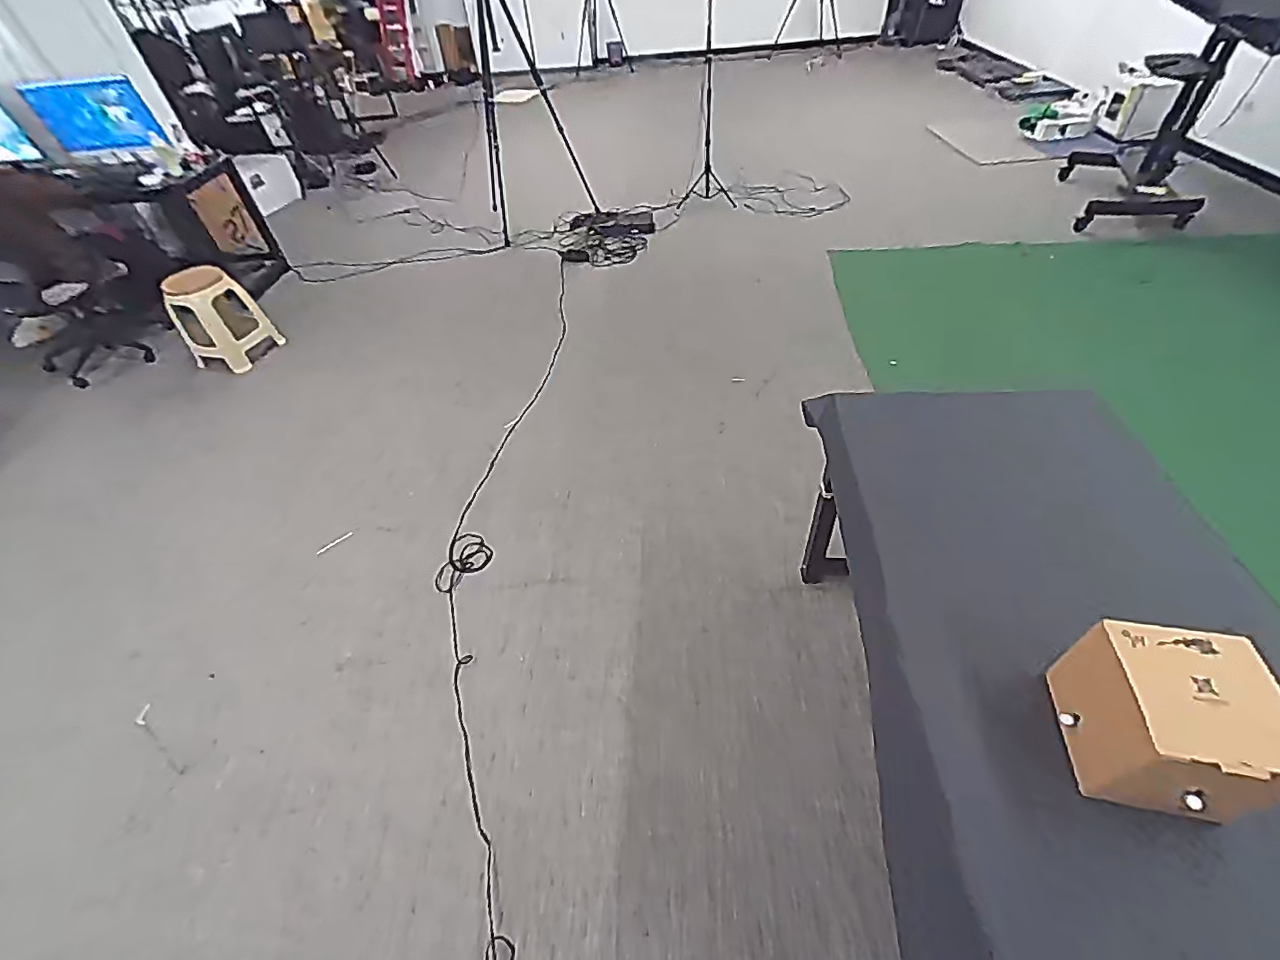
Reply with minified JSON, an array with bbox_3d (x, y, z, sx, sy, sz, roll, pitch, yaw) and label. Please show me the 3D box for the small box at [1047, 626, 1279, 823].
[{"bbox_3d":[0.675,0.318,0.701,0.168,0.176,0.179,6,48,12],"label":"small box"}]
